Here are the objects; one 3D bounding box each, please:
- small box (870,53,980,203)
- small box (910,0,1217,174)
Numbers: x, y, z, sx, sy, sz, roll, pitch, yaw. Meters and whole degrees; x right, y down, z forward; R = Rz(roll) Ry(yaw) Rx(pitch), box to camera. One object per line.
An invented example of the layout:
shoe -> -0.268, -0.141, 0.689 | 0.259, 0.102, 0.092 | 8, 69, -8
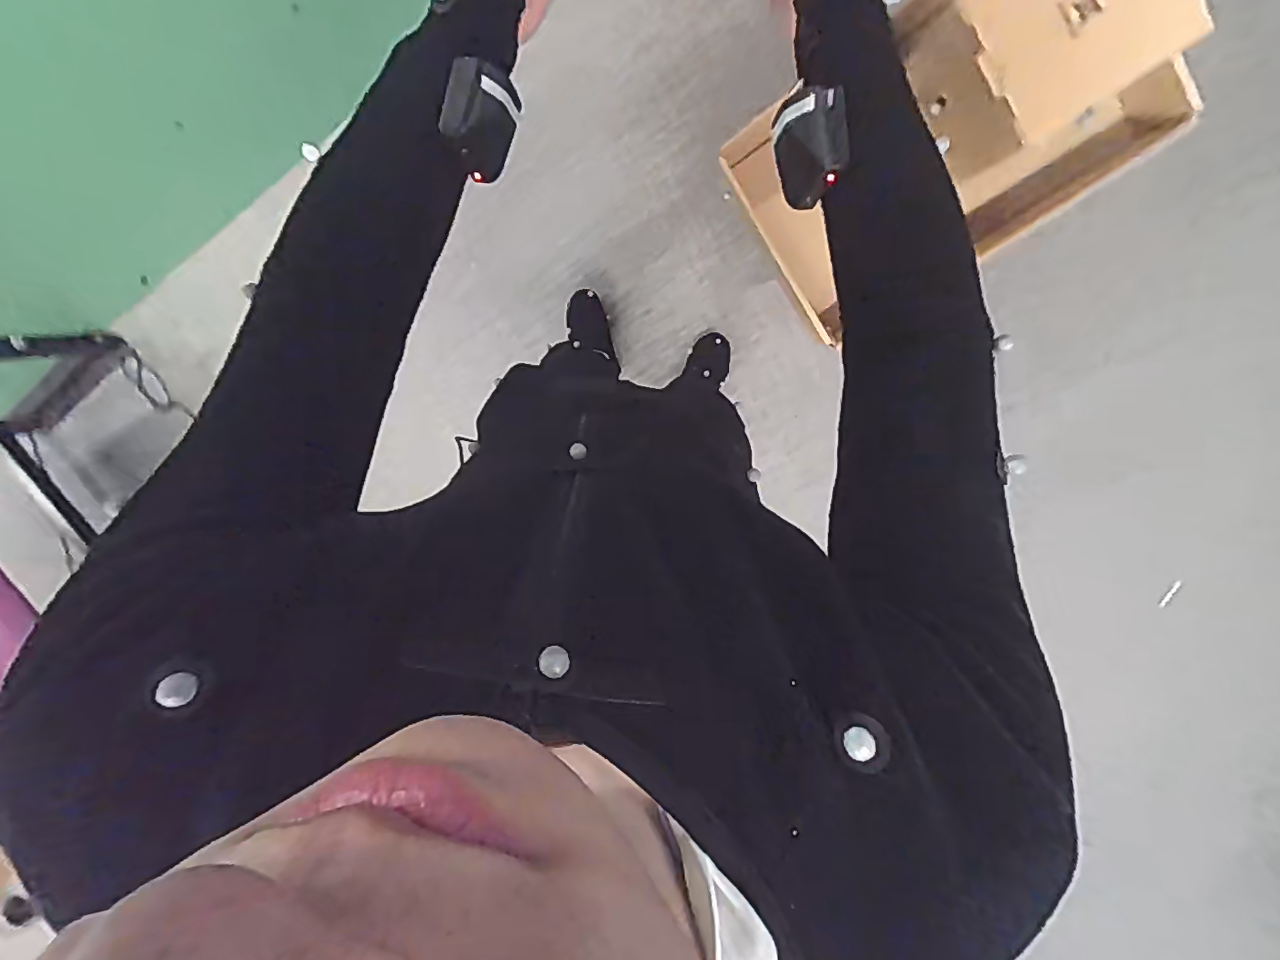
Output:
small box -> 0.450, -0.517, 0.741 | 0.179, 0.176, 0.168 | -31, 100, 15
small box -> 0.434, -0.473, 0.586 | 0.179, 0.176, 0.168 | -31, 101, 15
